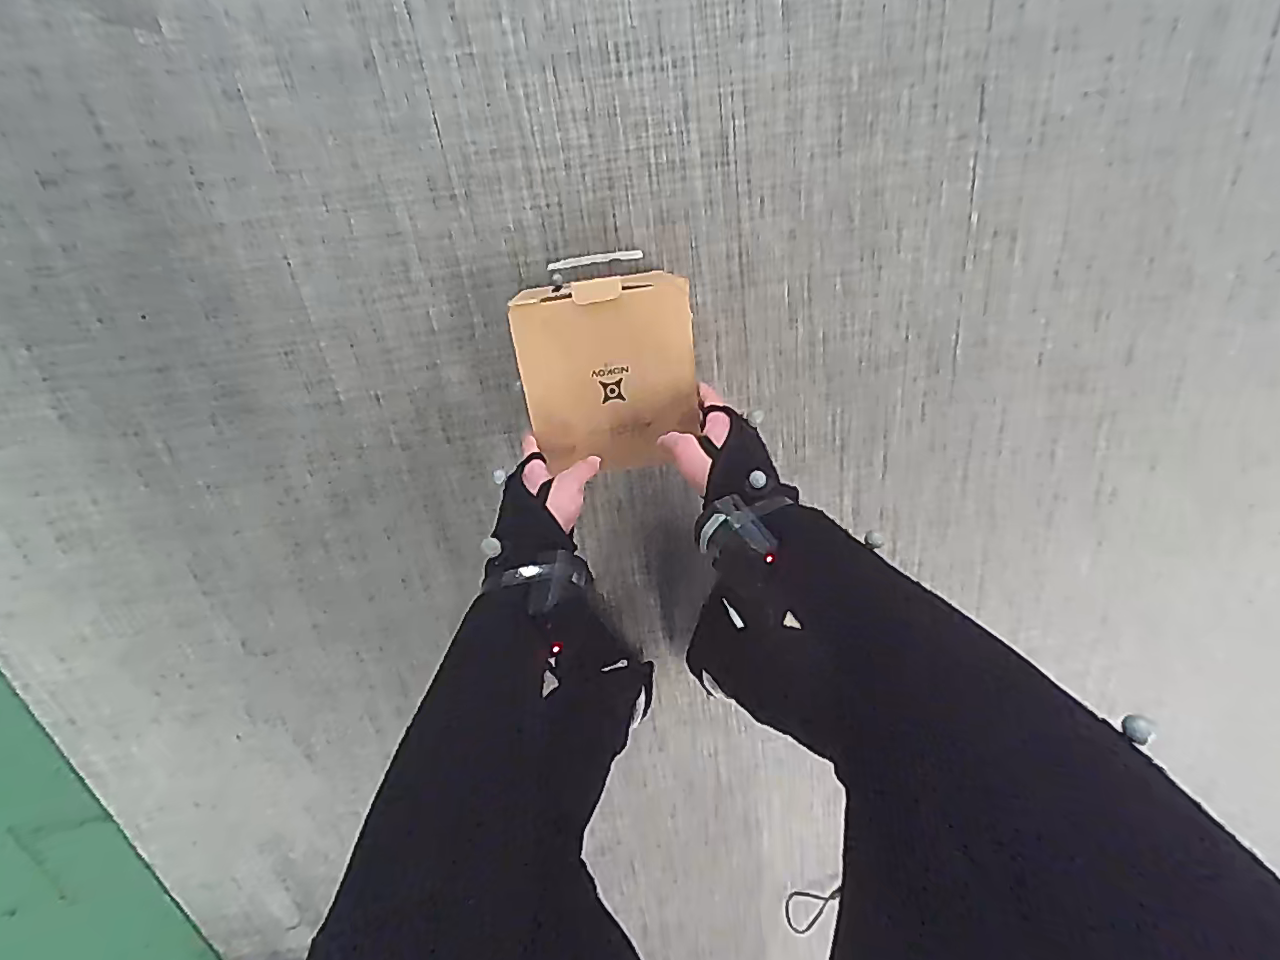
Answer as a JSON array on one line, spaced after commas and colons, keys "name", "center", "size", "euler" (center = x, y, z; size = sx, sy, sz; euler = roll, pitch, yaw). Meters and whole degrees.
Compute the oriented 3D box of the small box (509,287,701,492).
[{"name": "small box", "center": [-0.034, -0.106, 0.571], "size": [0.168, 0.176, 0.179], "euler": [-7, 114, -2]}]
